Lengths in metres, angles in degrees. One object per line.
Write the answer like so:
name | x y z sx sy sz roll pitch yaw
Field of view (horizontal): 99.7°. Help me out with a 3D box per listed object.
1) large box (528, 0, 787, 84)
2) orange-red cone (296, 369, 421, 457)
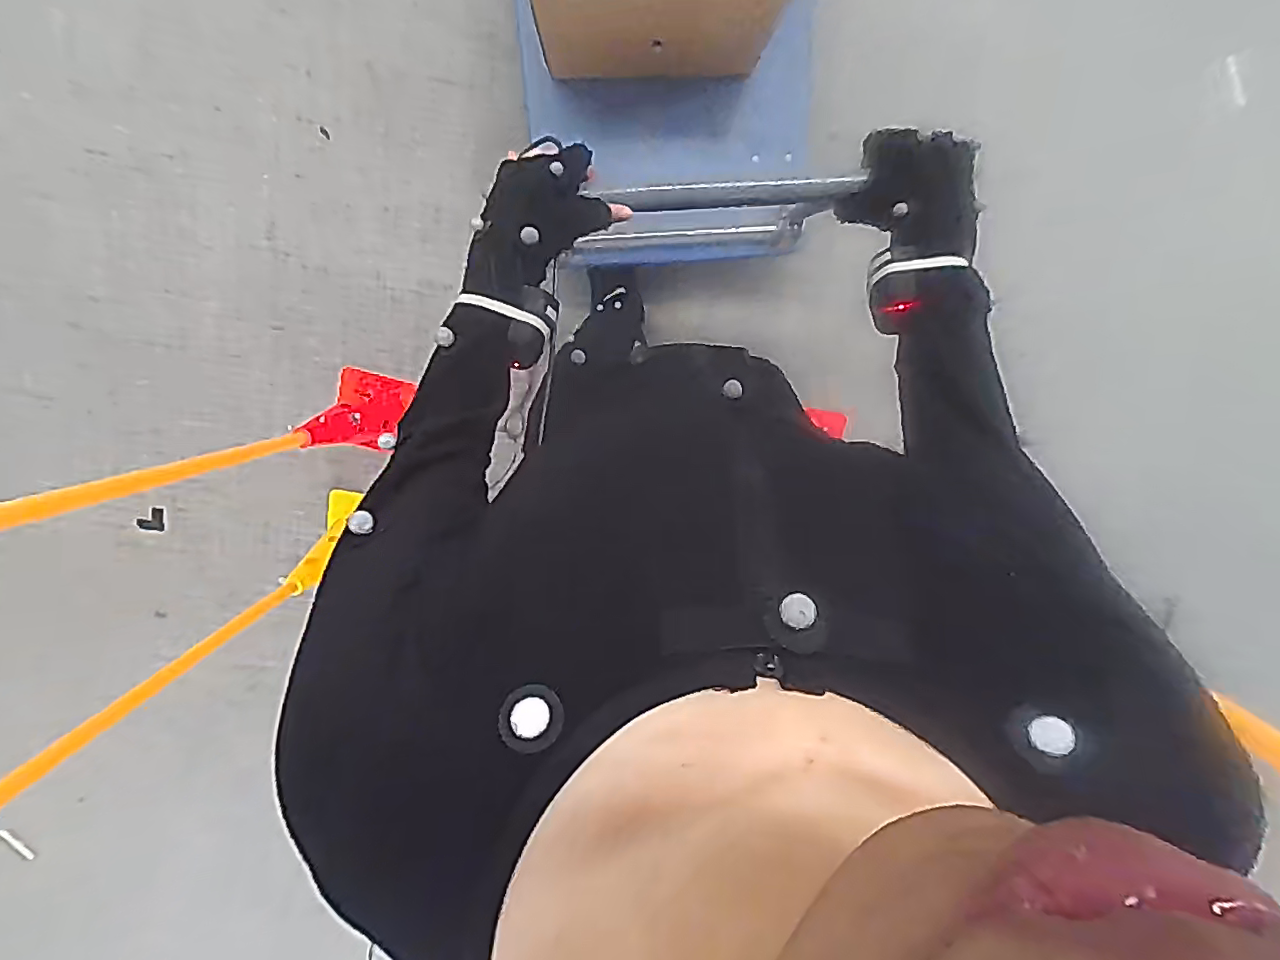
large box | 0.020 -0.908 0.904 0.408 0.320 0.320 -3 106 -1
orange-red cone | -0.673 -0.130 1.237 0.198 0.360 0.199 15 102 -7
